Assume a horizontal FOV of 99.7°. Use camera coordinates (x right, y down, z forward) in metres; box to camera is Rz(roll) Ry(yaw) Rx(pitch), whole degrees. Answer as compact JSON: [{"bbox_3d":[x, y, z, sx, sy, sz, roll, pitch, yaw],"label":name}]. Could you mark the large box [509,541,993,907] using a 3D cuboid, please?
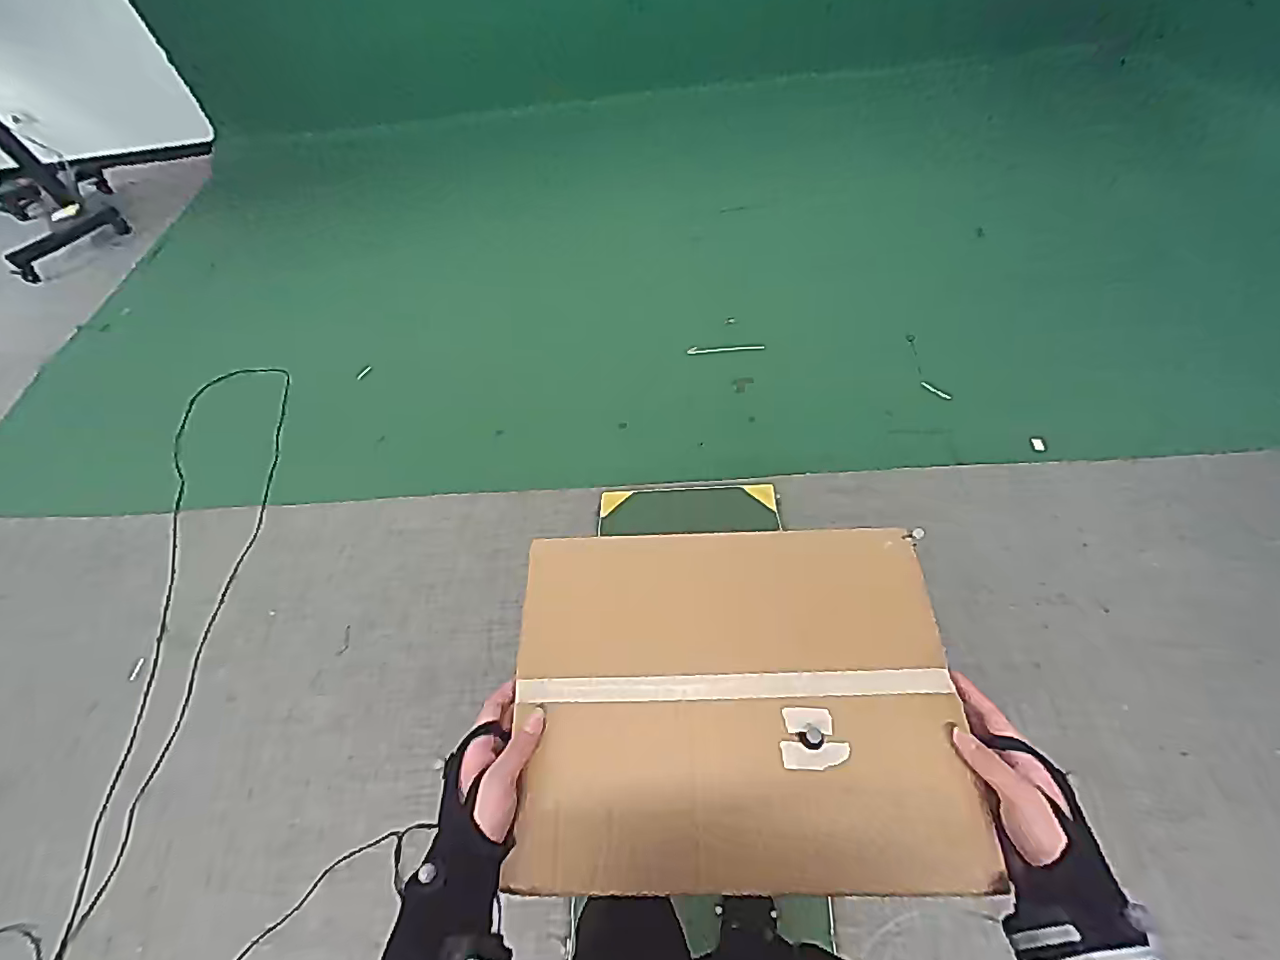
[{"bbox_3d":[0.090,0.284,0.642,0.408,0.320,0.320,-2,60,2],"label":"large box"}]
